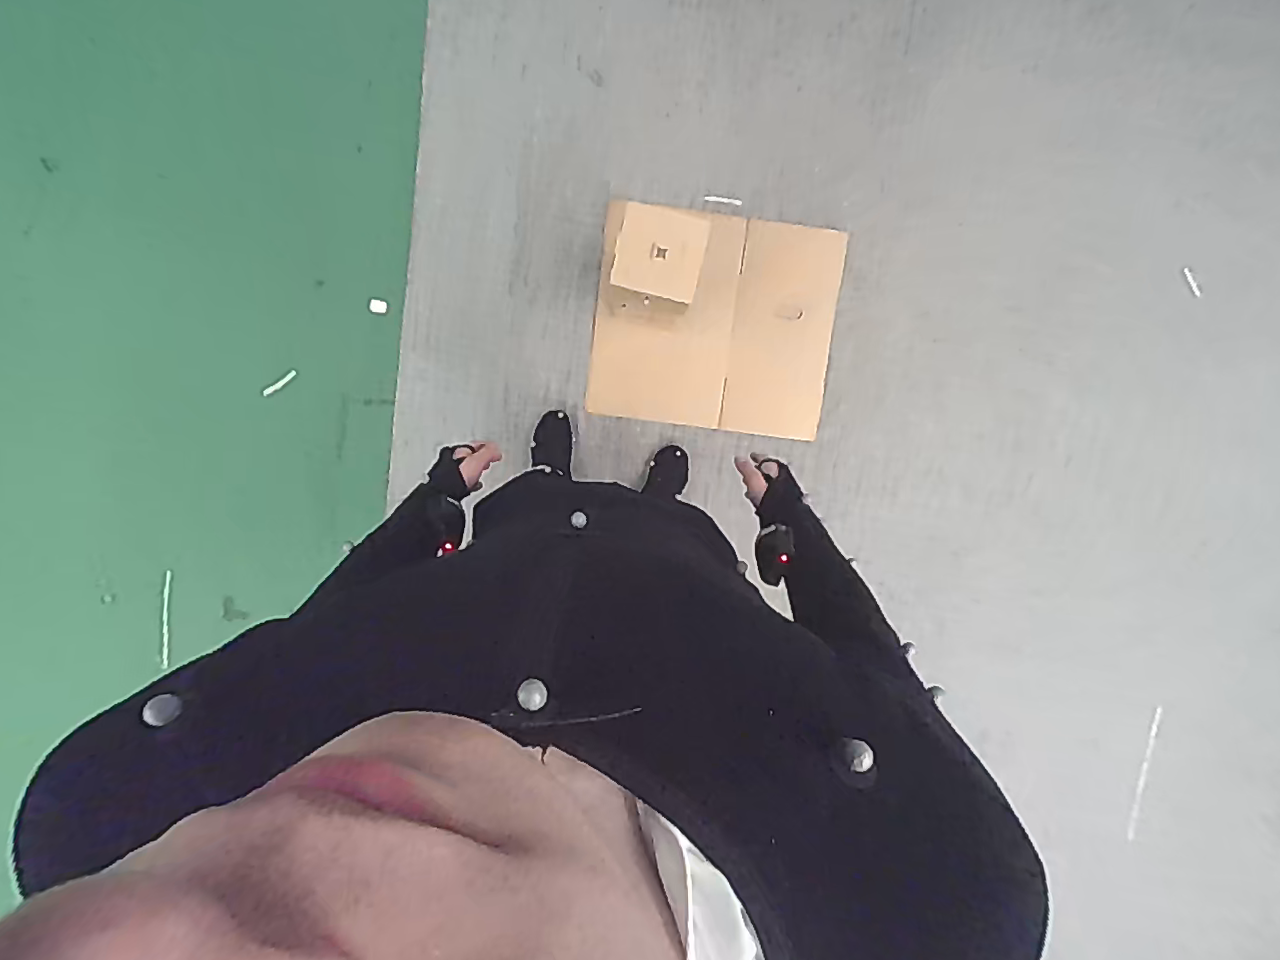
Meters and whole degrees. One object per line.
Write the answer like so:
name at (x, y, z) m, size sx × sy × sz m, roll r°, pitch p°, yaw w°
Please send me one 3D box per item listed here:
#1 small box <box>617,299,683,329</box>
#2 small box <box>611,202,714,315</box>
small box at (0.041, -0.521, 1.484) m, size 0.179 × 0.176 × 0.168 m, roll 12°, pitch 97°, yaw -2°
small box at (0.044, -0.464, 1.161) m, size 0.179 × 0.176 × 0.168 m, roll 14°, pitch 97°, yaw -2°
